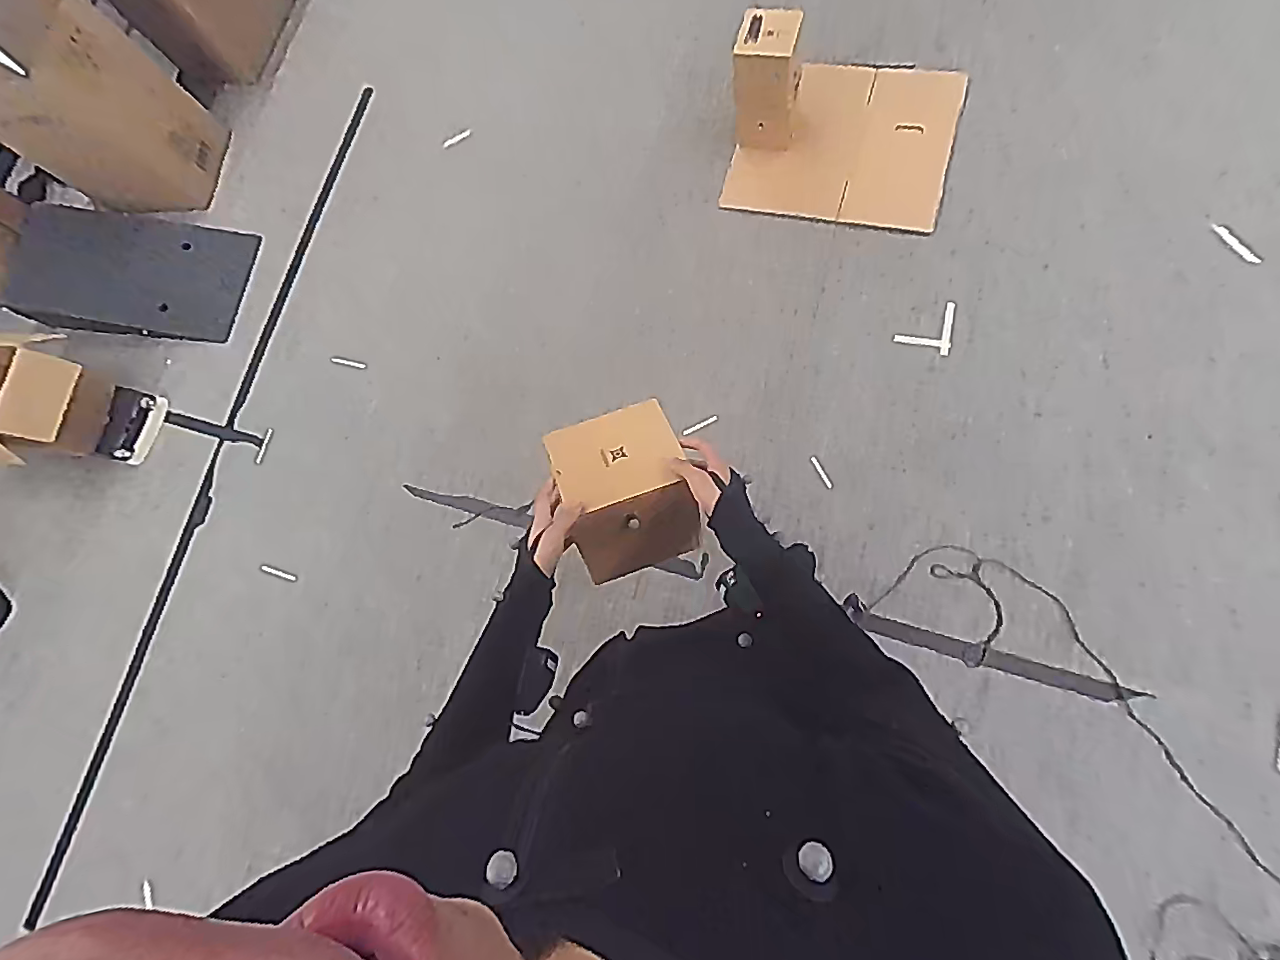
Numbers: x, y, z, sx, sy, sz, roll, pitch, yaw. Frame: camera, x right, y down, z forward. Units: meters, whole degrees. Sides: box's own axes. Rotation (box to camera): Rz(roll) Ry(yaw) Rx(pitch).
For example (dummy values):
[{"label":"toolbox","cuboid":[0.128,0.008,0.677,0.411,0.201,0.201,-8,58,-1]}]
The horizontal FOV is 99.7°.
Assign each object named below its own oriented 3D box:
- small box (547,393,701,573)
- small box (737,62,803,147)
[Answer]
[{"label":"small box","cuboid":[-0.017,0.008,0.791,0.179,0.176,0.168,-20,50,-4]},{"label":"small box","cuboid":[0.434,-1.254,1.813,0.179,0.176,0.168,14,81,15]}]
